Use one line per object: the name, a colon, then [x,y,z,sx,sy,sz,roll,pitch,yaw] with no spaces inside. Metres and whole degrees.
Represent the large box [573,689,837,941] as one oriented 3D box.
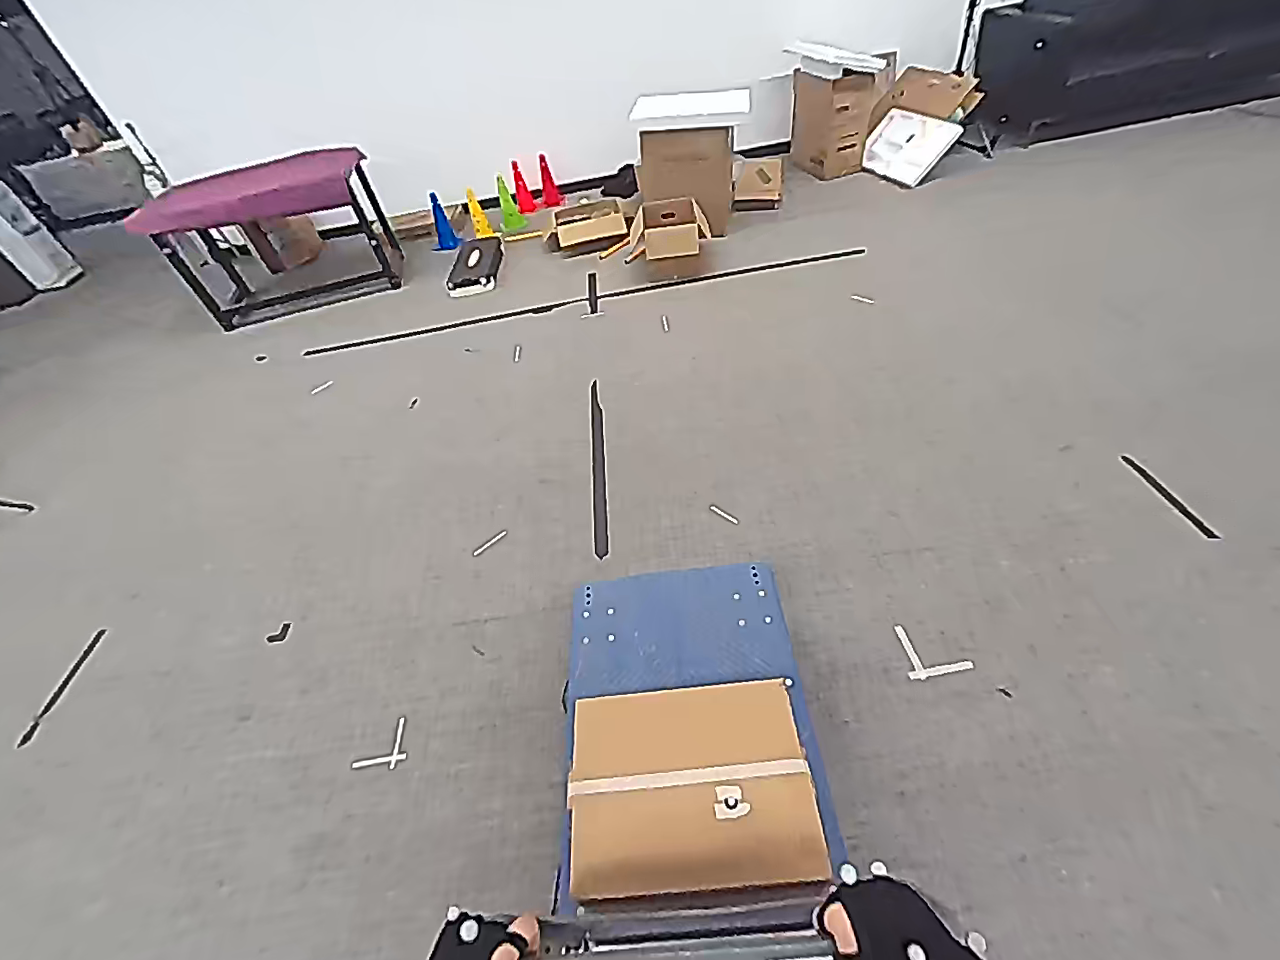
large box: [0.100,0.625,1.007,0.408,0.320,0.320,-7,45,2]
